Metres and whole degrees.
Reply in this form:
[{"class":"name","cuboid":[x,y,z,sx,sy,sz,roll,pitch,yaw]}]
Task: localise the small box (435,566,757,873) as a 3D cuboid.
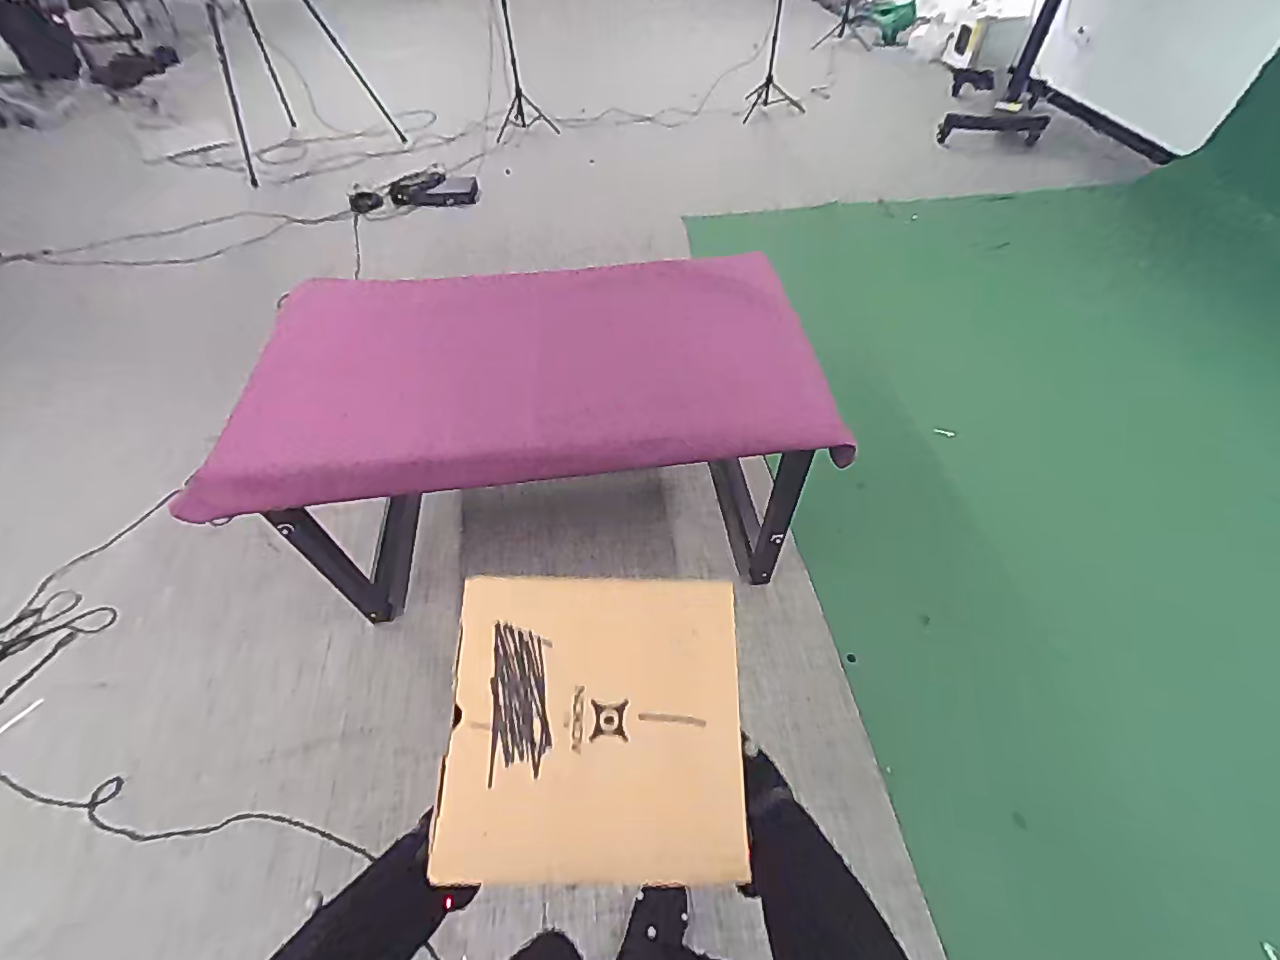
[{"class":"small box","cuboid":[-0.024,0.163,0.392,0.179,0.176,0.168,1,68,-2]}]
